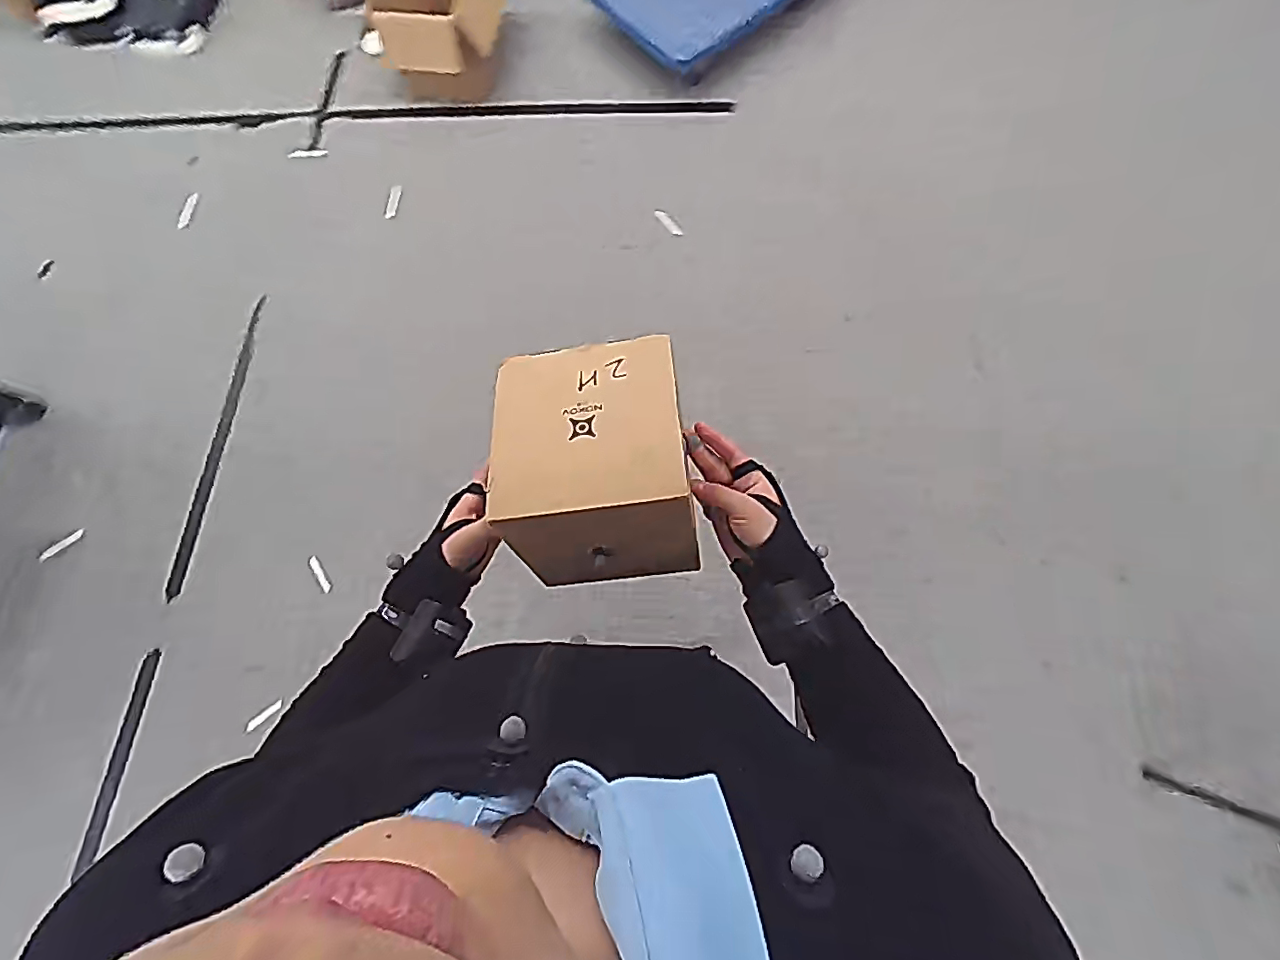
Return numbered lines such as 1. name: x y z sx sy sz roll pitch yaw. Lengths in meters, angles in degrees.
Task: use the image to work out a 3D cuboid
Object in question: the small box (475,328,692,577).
1. small box: -0.043 -0.014 0.525 0.168 0.176 0.179 -8 60 5
